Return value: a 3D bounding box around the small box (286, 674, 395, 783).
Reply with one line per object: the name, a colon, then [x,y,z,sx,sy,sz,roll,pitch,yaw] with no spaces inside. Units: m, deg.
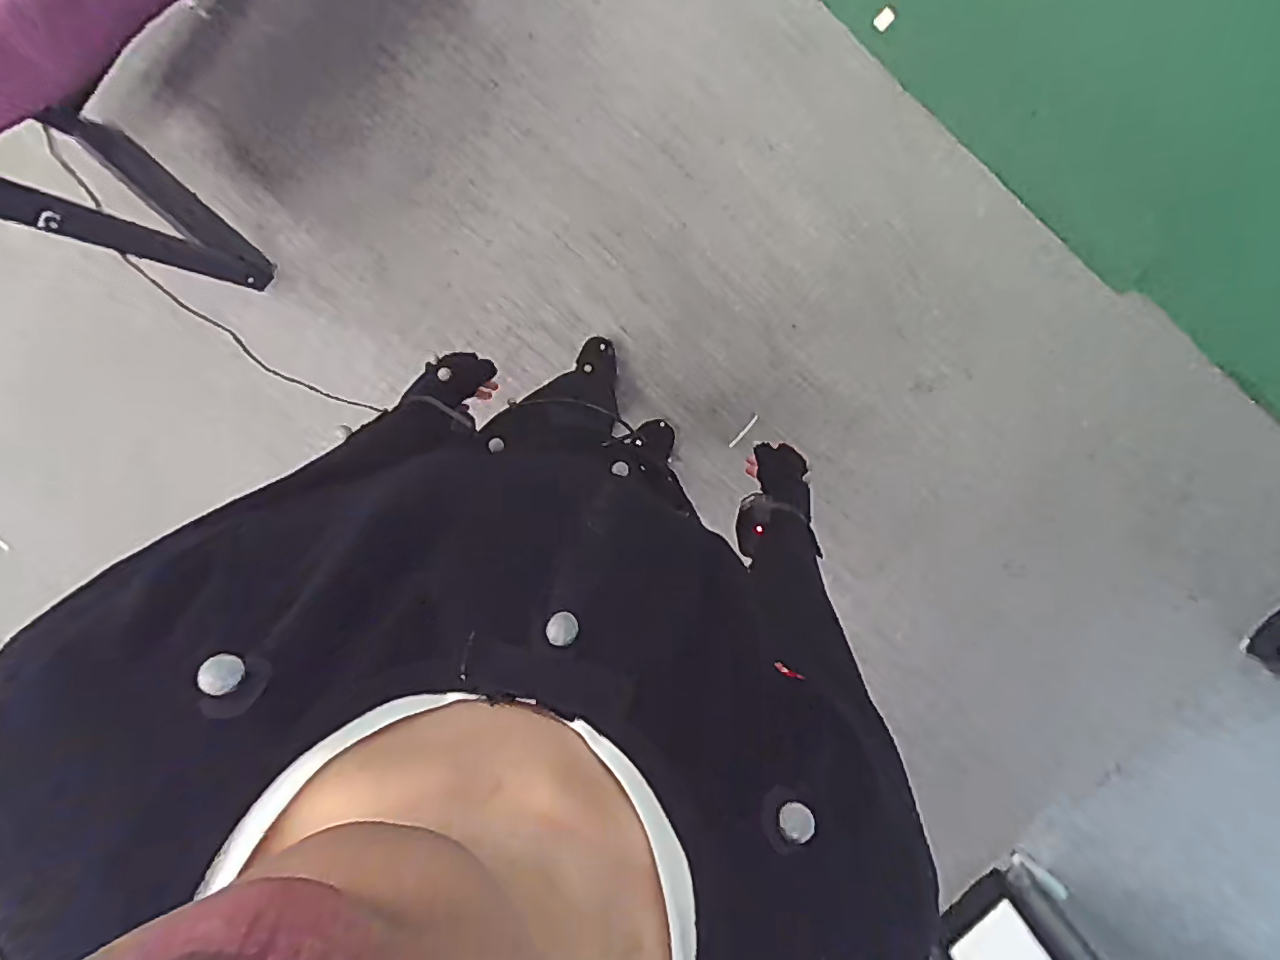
small box: [-0.827,0.688,1.514,0.168,0.176,0.179,41,97,-4]
